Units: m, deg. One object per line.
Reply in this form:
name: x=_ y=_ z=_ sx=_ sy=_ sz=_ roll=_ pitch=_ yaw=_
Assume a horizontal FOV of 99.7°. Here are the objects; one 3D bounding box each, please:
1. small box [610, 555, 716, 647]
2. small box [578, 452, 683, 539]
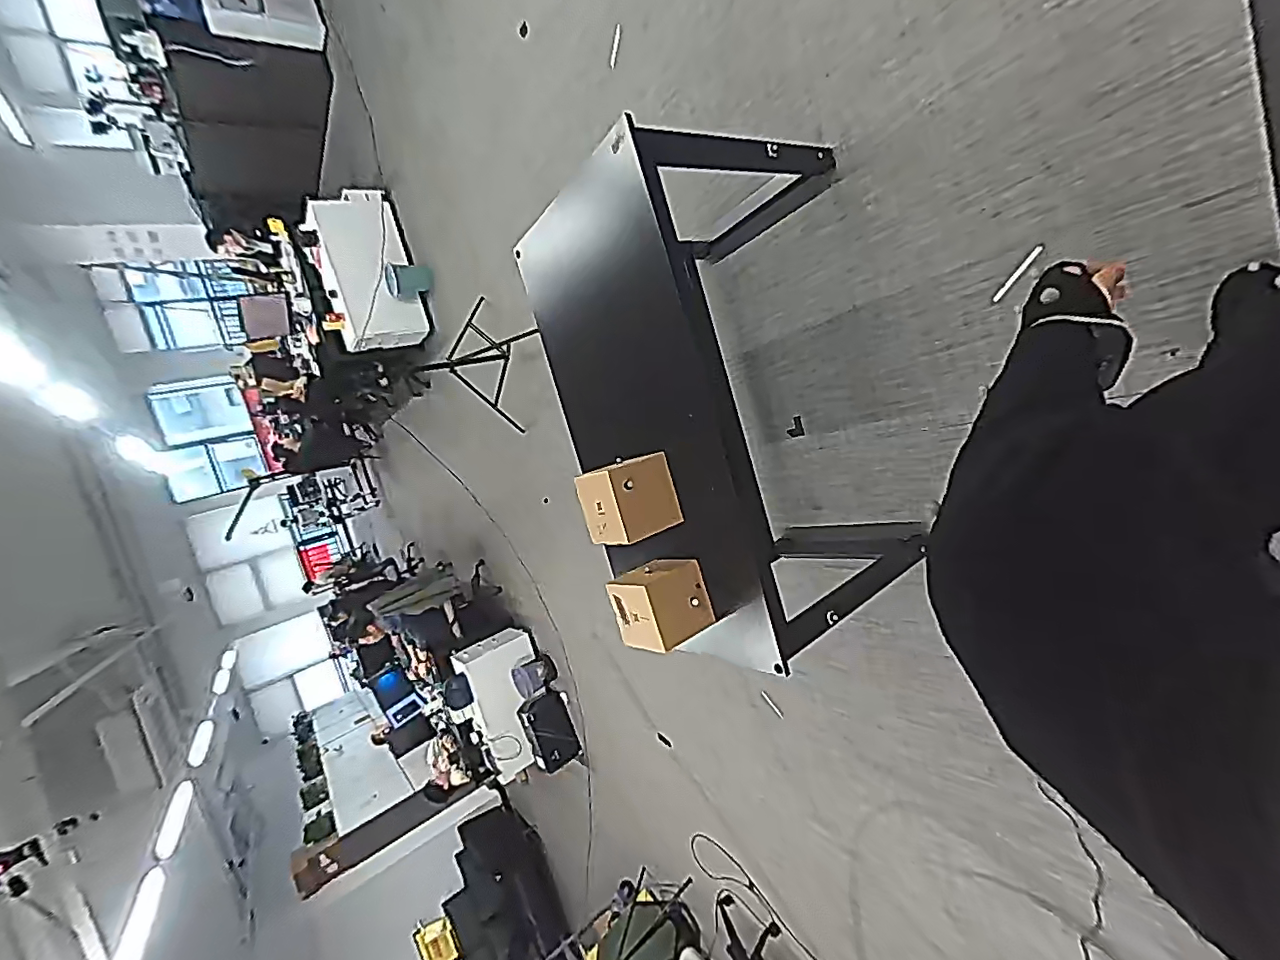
small box: x=0.057 y=0.290 z=1.332 sx=0.179 sy=0.176 sz=0.168 roll=-13 pitch=96 yaw=55
small box: x=-0.022 y=0.035 z=1.311 sx=0.168 sy=0.176 sz=0.179 roll=-10 pitch=98 yaw=56
